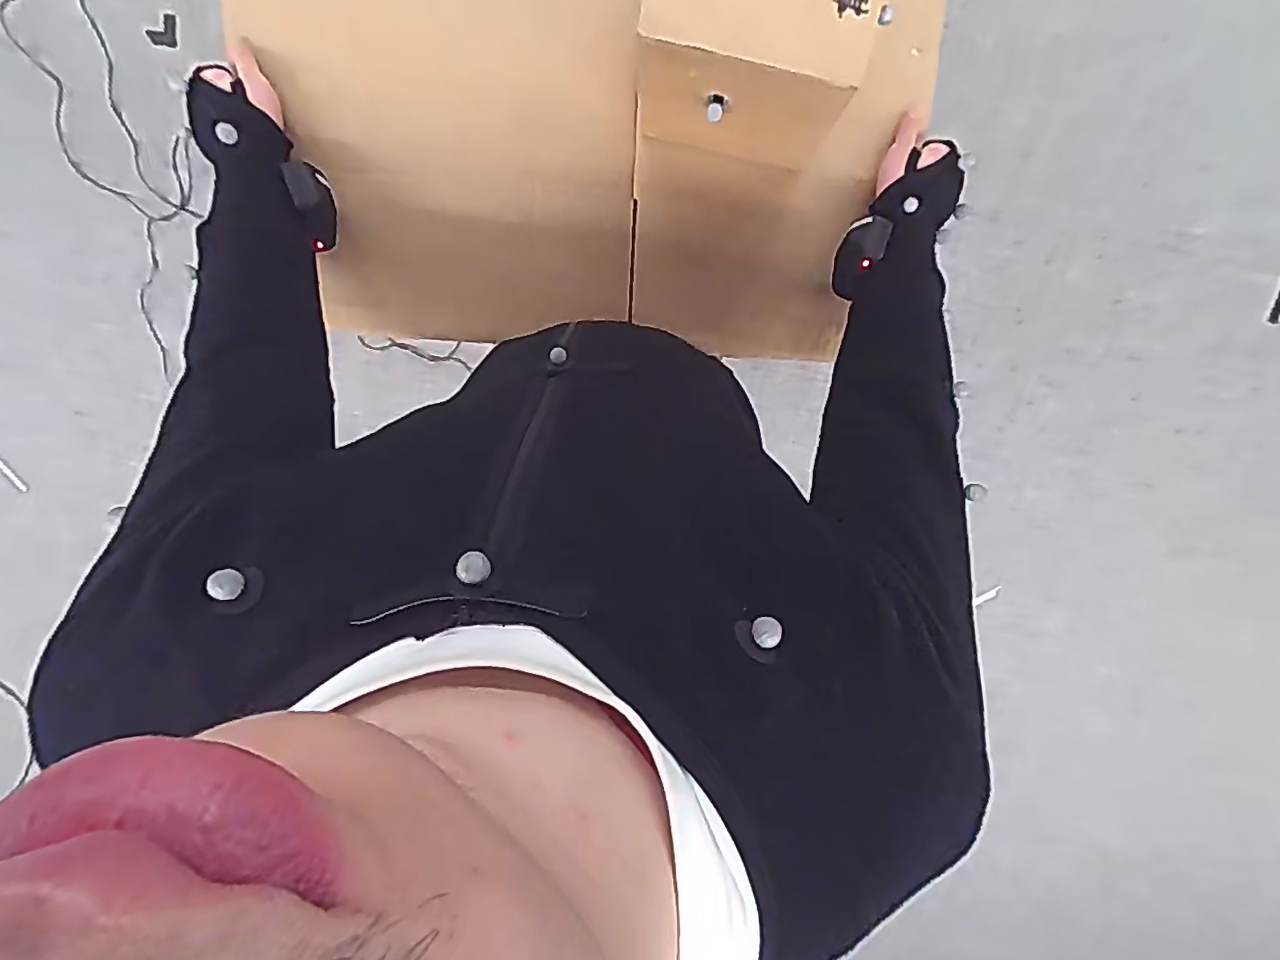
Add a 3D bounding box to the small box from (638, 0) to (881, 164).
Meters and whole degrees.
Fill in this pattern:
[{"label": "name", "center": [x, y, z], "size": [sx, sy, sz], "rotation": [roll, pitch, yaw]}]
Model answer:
[{"label": "small box", "center": [0.104, -0.409, 0.476], "size": [0.179, 0.176, 0.168], "rotation": [13, 101, 0]}]
